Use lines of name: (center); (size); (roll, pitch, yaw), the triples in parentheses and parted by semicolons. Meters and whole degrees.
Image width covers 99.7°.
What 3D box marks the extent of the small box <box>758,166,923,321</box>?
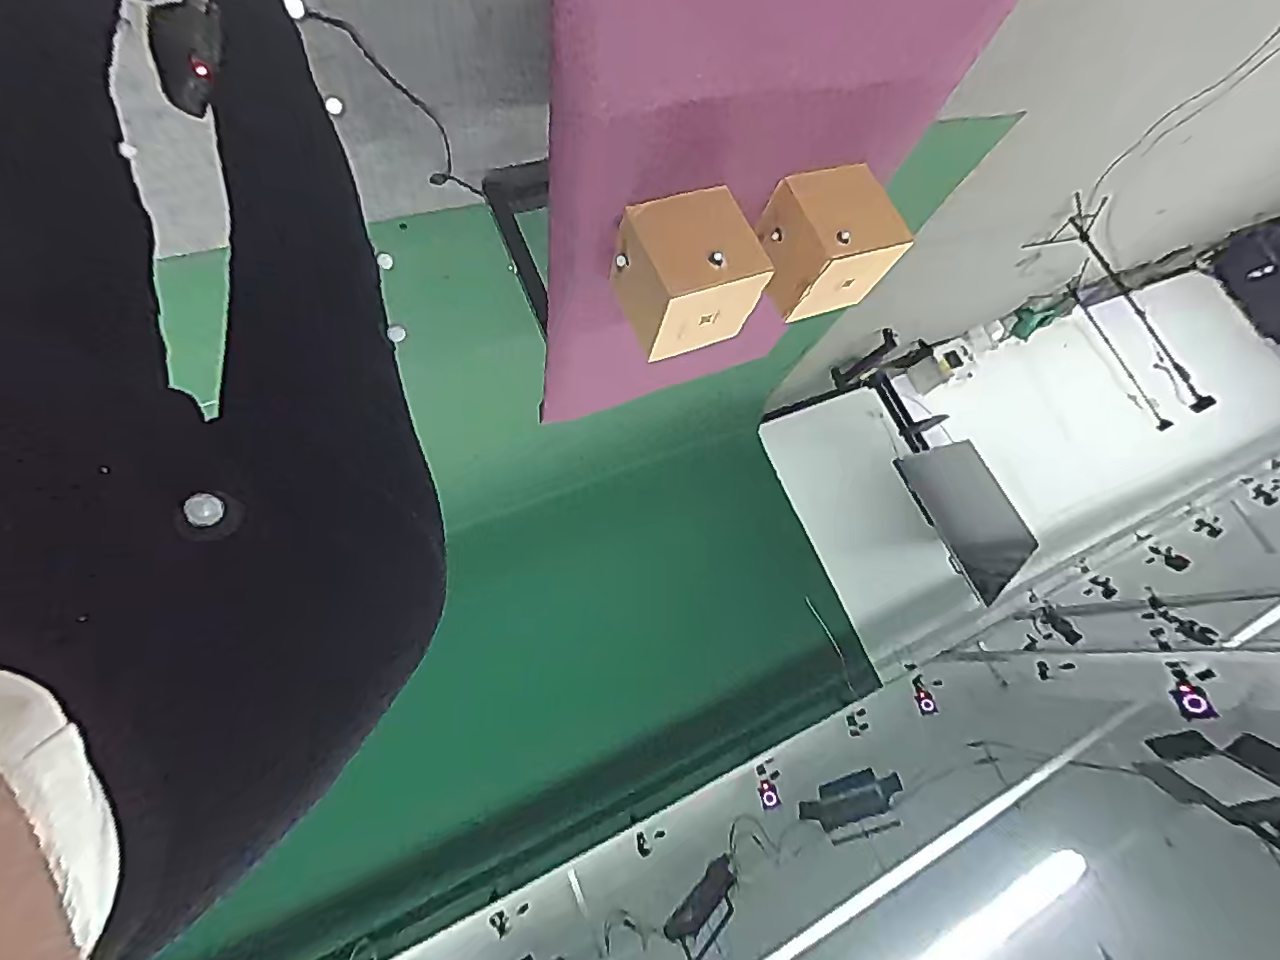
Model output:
small box: (0.327, -0.402, 0.919); (0.179, 0.176, 0.168); (-18, 167, -17)

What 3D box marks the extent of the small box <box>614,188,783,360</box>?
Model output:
small box: (0.080, -0.317, 0.832); (0.179, 0.176, 0.168); (-20, 167, -17)
